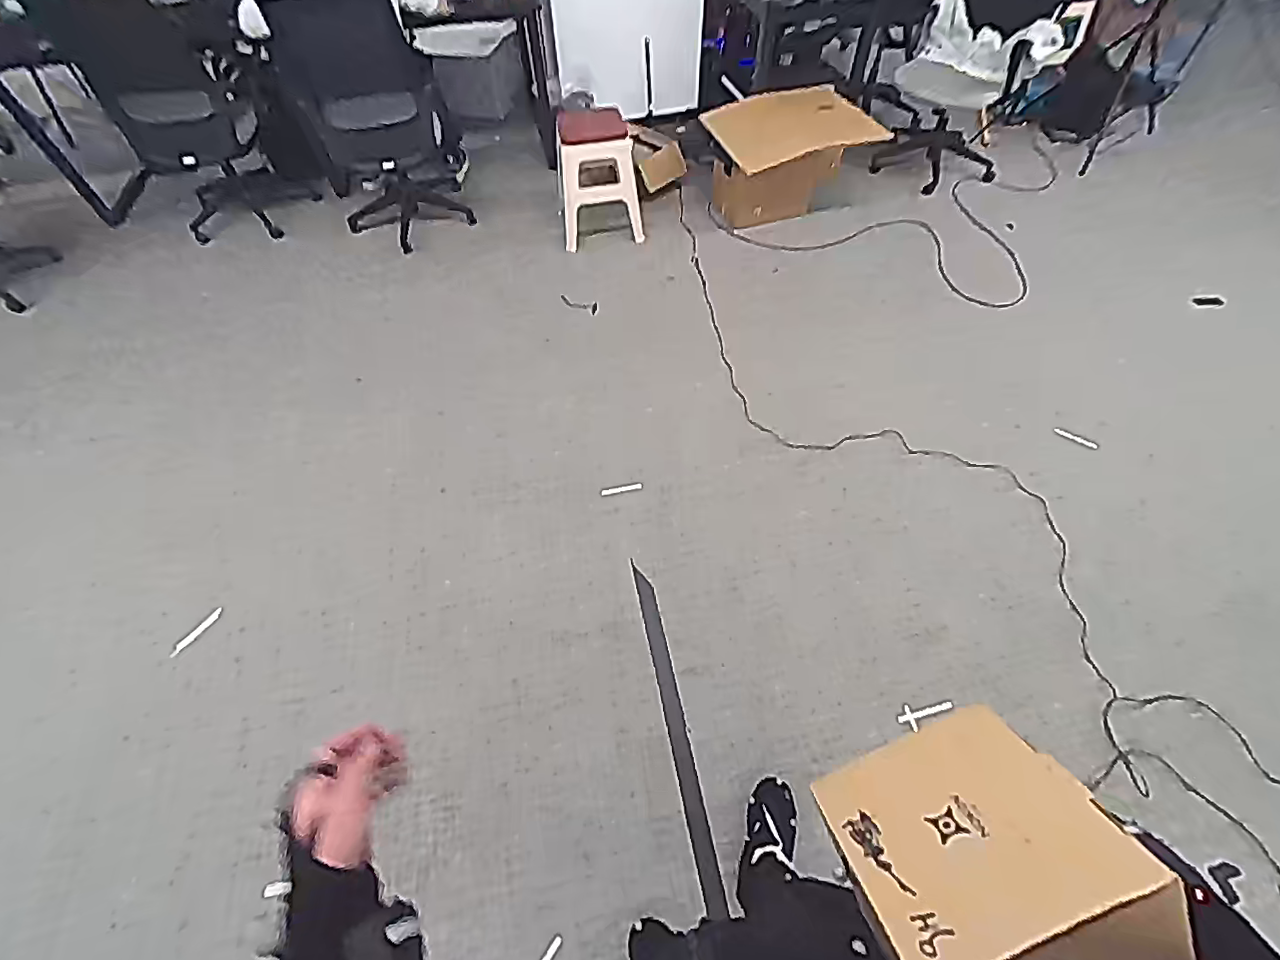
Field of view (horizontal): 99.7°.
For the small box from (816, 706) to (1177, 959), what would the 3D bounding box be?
[{"bbox_3d":[0.277,0.331,0.439,0.179,0.176,0.168,-25,17,0],"label":"small box"}]
